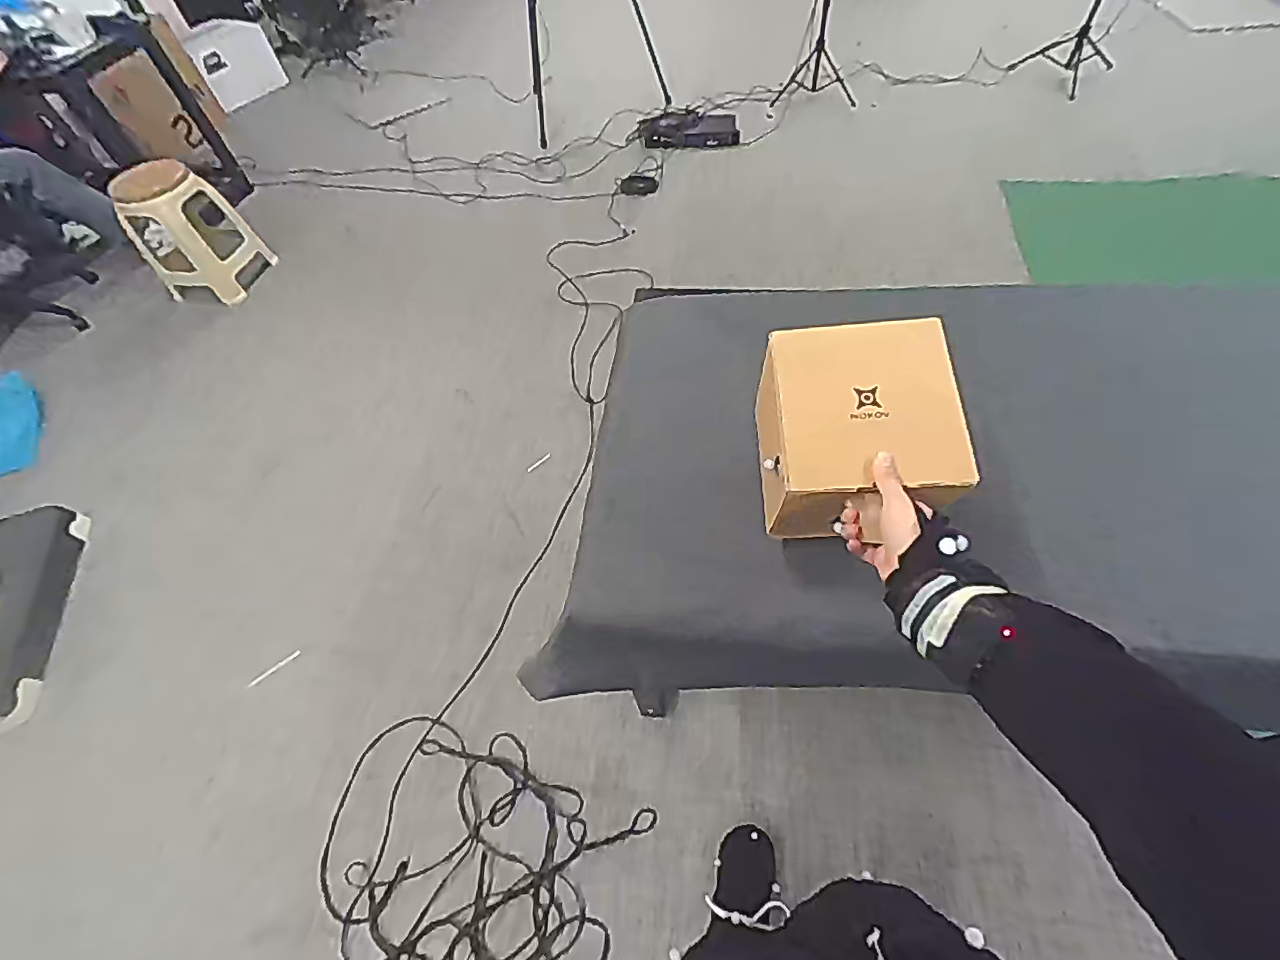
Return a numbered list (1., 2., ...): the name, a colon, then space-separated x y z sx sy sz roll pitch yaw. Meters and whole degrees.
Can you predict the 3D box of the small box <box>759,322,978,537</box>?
1. small box: 0.225 -0.045 0.587 0.168 0.176 0.179 -3 70 6
